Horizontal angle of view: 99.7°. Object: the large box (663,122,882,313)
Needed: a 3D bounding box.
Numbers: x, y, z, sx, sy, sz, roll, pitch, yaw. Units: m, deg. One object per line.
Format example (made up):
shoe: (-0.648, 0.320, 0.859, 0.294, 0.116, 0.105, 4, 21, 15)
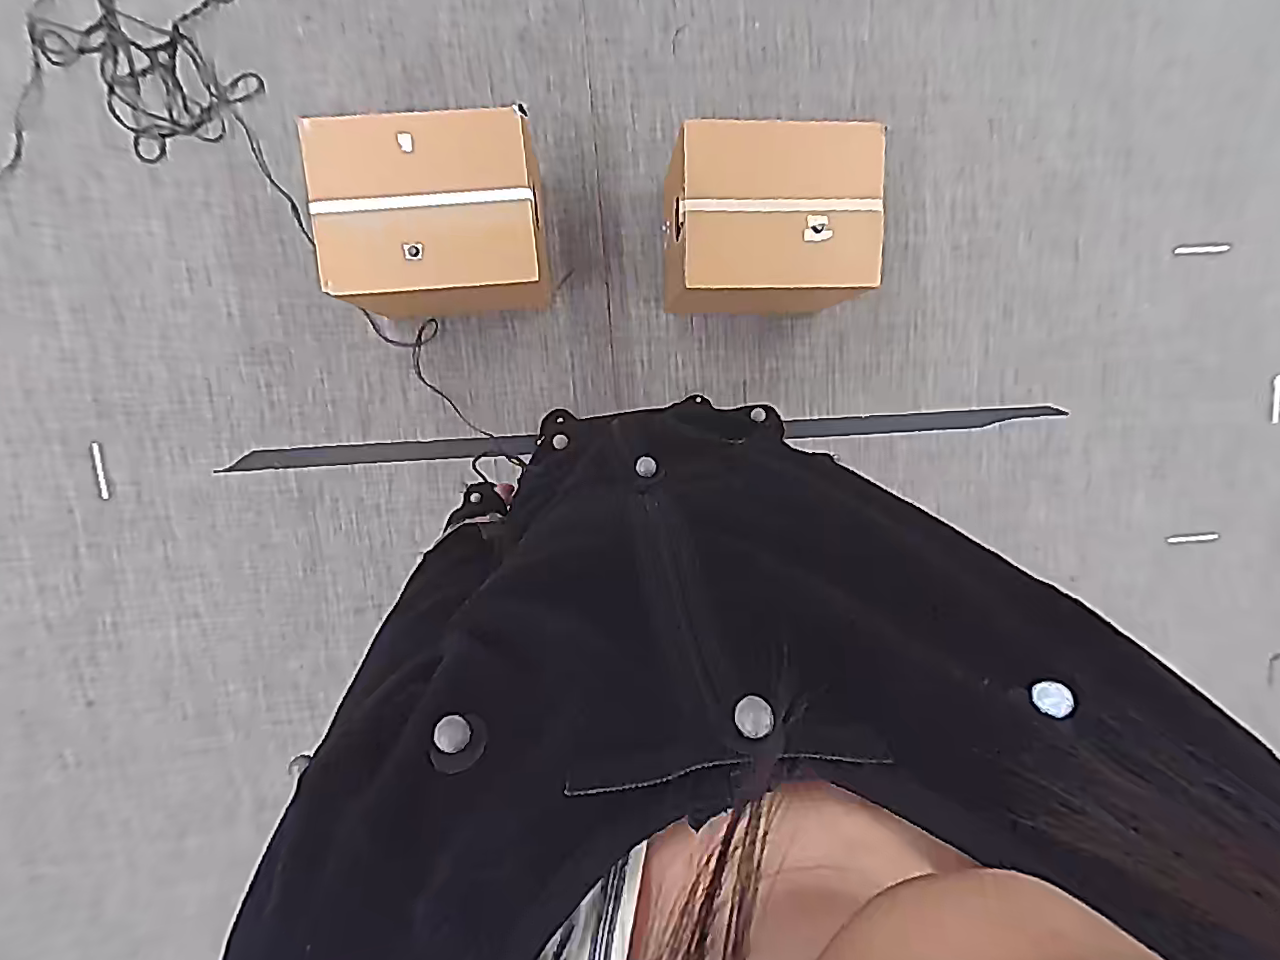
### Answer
large box: (0.273, -0.565, 1.223, 0.408, 0.320, 0.320, -2, 98, -5)
